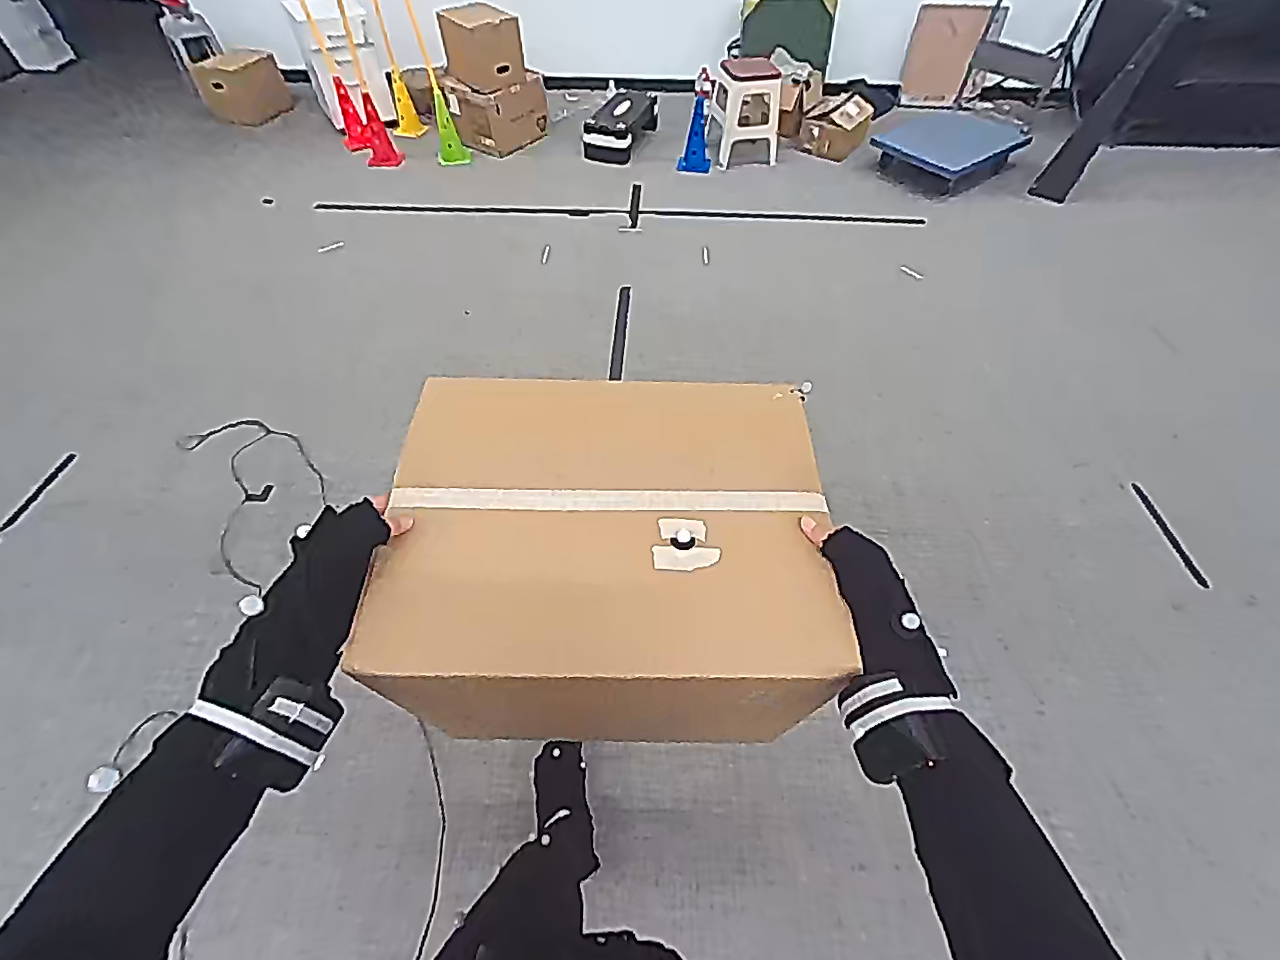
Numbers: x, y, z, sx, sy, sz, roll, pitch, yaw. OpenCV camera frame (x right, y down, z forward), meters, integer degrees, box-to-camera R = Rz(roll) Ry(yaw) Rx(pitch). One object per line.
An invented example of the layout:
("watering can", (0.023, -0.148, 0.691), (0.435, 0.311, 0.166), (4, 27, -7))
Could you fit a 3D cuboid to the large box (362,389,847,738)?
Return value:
("large box", (-0.032, 0.110, 0.642), (0.408, 0.320, 0.320), (1, 56, -1))
